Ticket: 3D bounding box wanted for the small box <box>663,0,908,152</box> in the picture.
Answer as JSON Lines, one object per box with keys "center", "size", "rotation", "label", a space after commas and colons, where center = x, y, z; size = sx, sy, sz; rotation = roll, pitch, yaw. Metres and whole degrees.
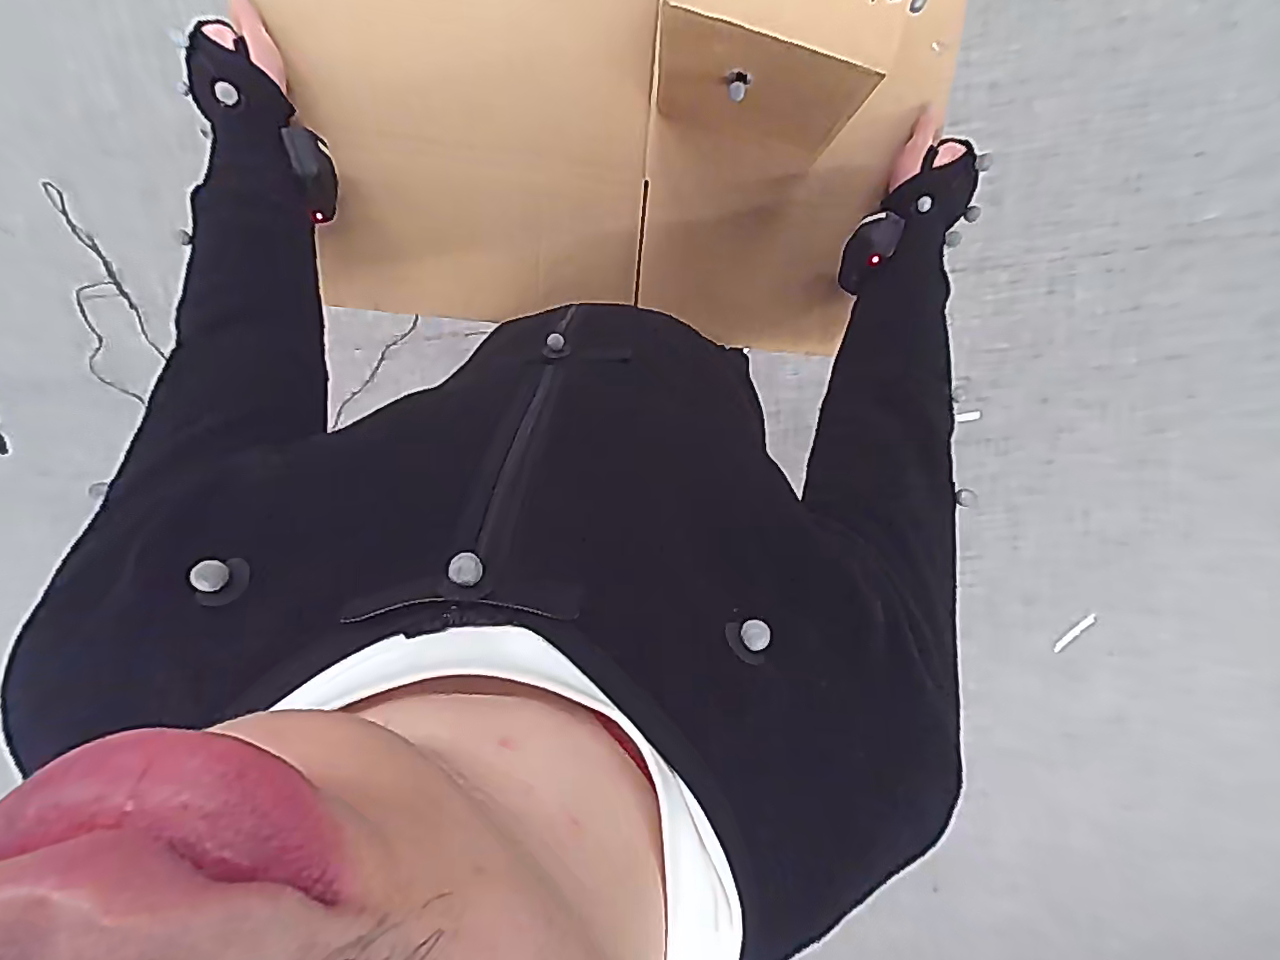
{"center": [0.124, -0.417, 0.466], "size": [0.179, 0.176, 0.168], "rotation": [16, 102, -2], "label": "small box"}
